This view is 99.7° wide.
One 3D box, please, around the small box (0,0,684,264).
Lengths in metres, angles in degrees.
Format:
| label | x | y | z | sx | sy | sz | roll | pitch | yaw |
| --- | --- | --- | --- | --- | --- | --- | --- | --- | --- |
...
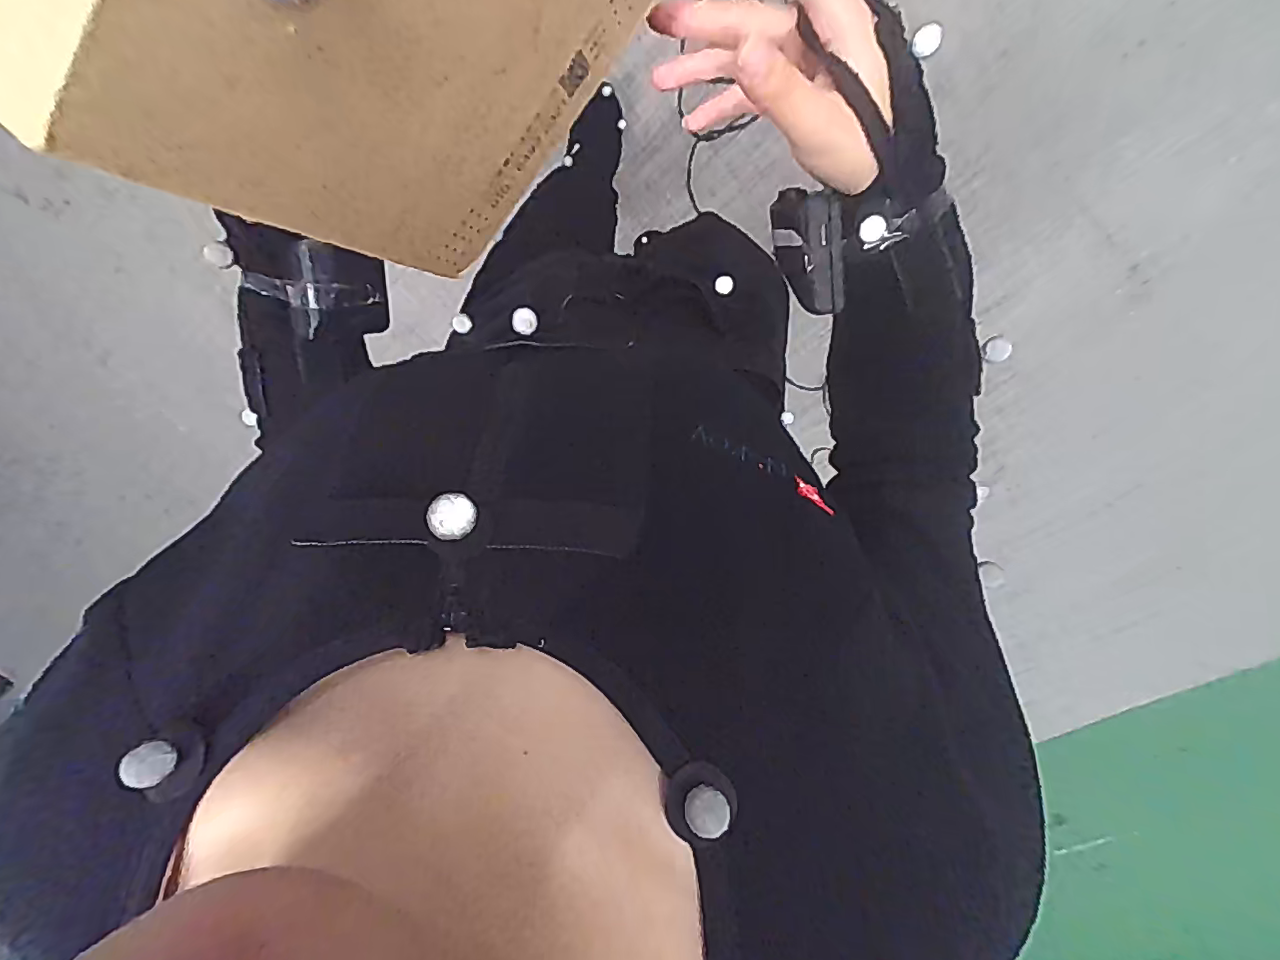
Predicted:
| label | x | y | z | sx | sy | sz | roll | pitch | yaw |
| --- | --- | --- | --- | --- | --- | --- | --- | --- | --- |
| small box | -0.106 | -0.199 | 0.179 | 0.179 | 0.176 | 0.168 | 43 | 107 | 1 |
